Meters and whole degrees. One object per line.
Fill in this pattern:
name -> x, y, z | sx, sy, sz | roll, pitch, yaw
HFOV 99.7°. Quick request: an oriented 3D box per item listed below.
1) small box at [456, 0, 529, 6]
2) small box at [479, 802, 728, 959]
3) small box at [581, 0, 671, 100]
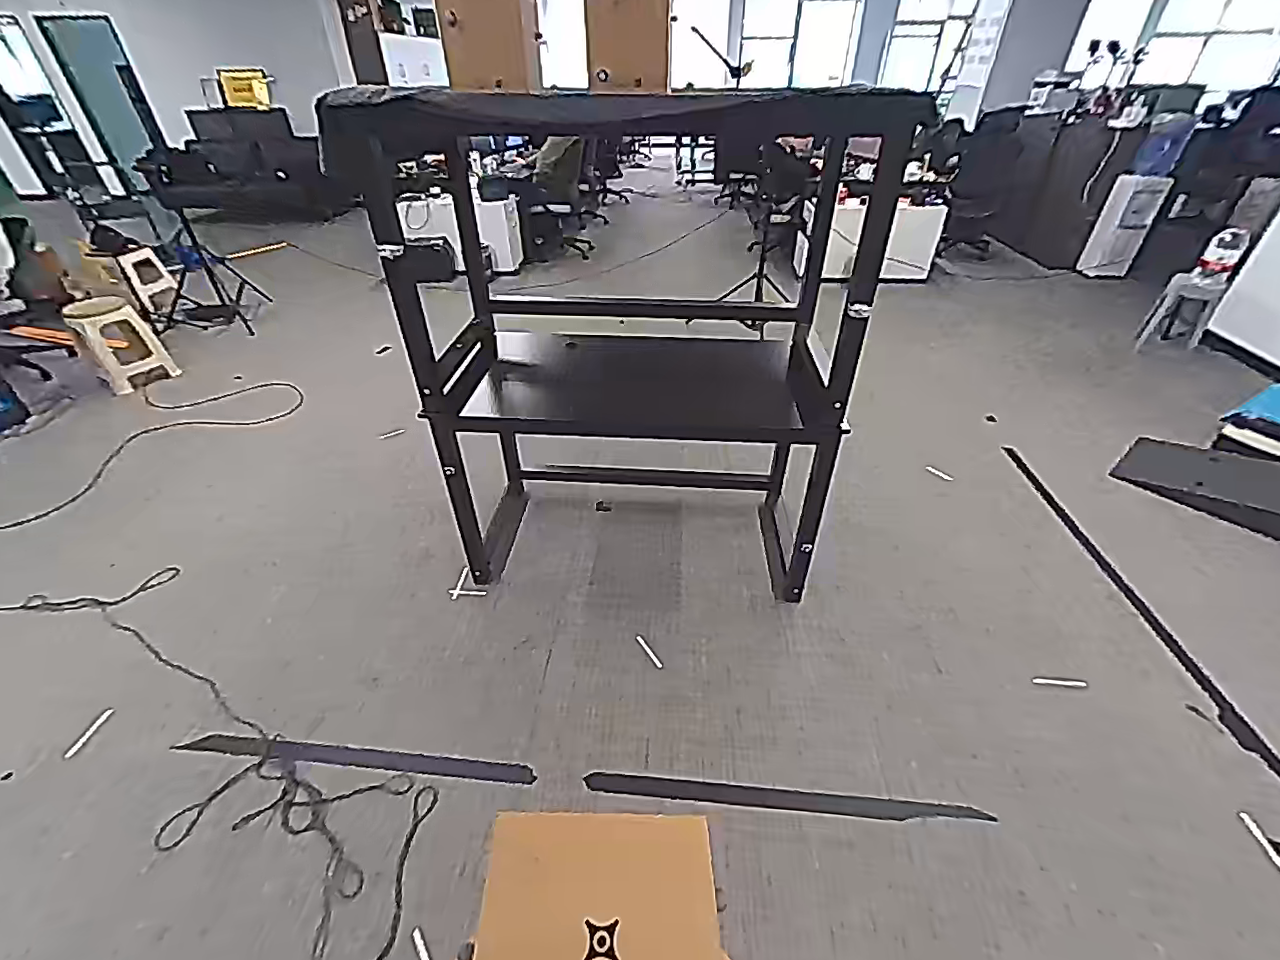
small box -> -0.309, -1.034, 1.036 | 0.168, 0.176, 0.179 | 2, 35, 3
small box -> -0.031, 0.372, 0.404 | 0.168, 0.176, 0.179 | 3, 37, -4
small box -> -0.022, -0.894, 1.117 | 0.168, 0.176, 0.179 | 3, 35, 4
